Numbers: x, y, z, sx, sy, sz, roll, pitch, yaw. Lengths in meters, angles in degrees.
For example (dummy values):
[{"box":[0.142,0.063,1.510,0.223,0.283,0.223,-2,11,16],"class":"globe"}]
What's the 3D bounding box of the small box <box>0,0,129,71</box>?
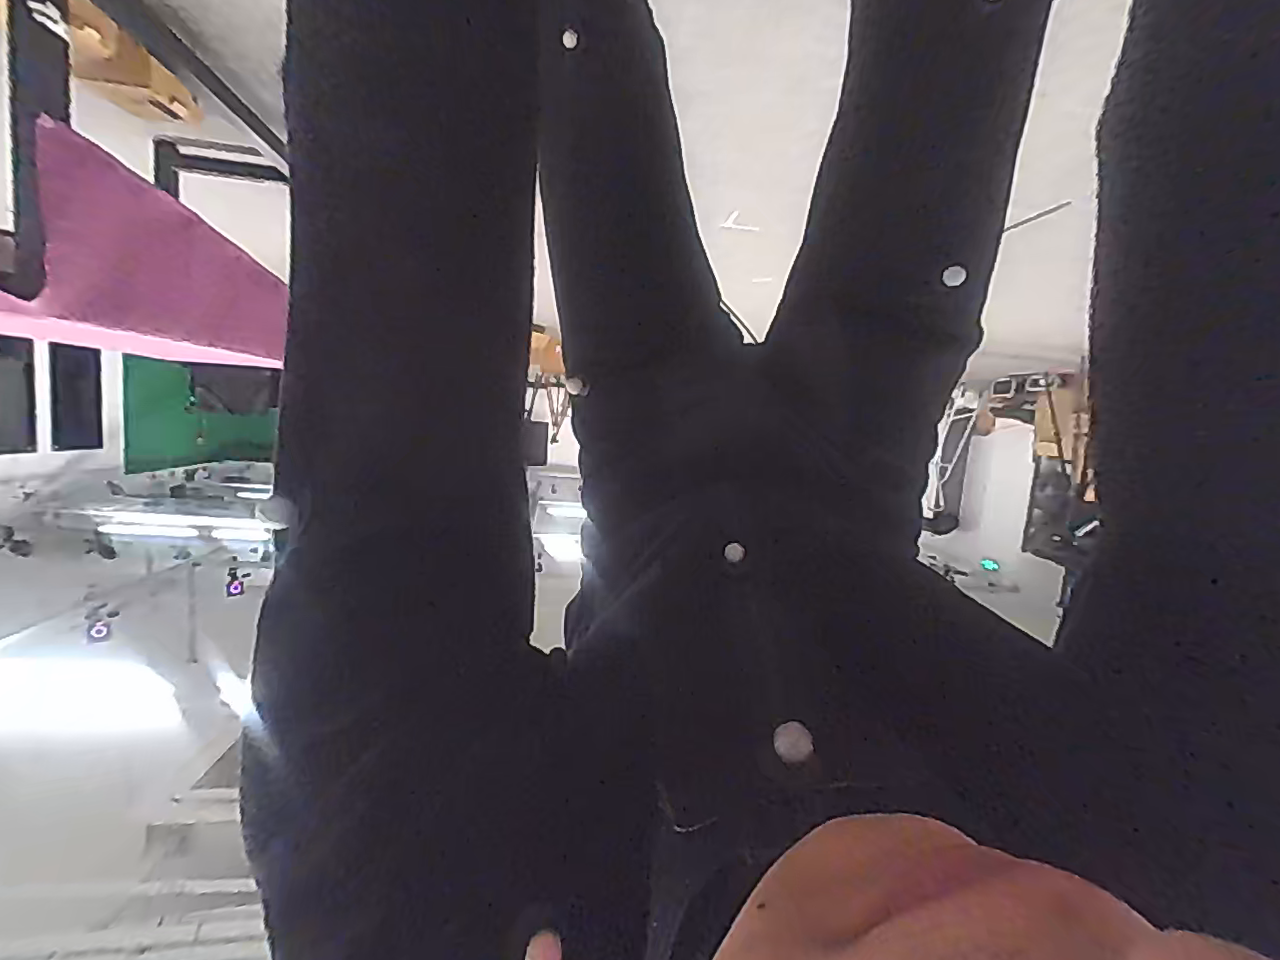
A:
[{"box":[-1.155,-0.956,1.064,0.179,0.176,0.168,7,-173,20],"class":"small box"}]
